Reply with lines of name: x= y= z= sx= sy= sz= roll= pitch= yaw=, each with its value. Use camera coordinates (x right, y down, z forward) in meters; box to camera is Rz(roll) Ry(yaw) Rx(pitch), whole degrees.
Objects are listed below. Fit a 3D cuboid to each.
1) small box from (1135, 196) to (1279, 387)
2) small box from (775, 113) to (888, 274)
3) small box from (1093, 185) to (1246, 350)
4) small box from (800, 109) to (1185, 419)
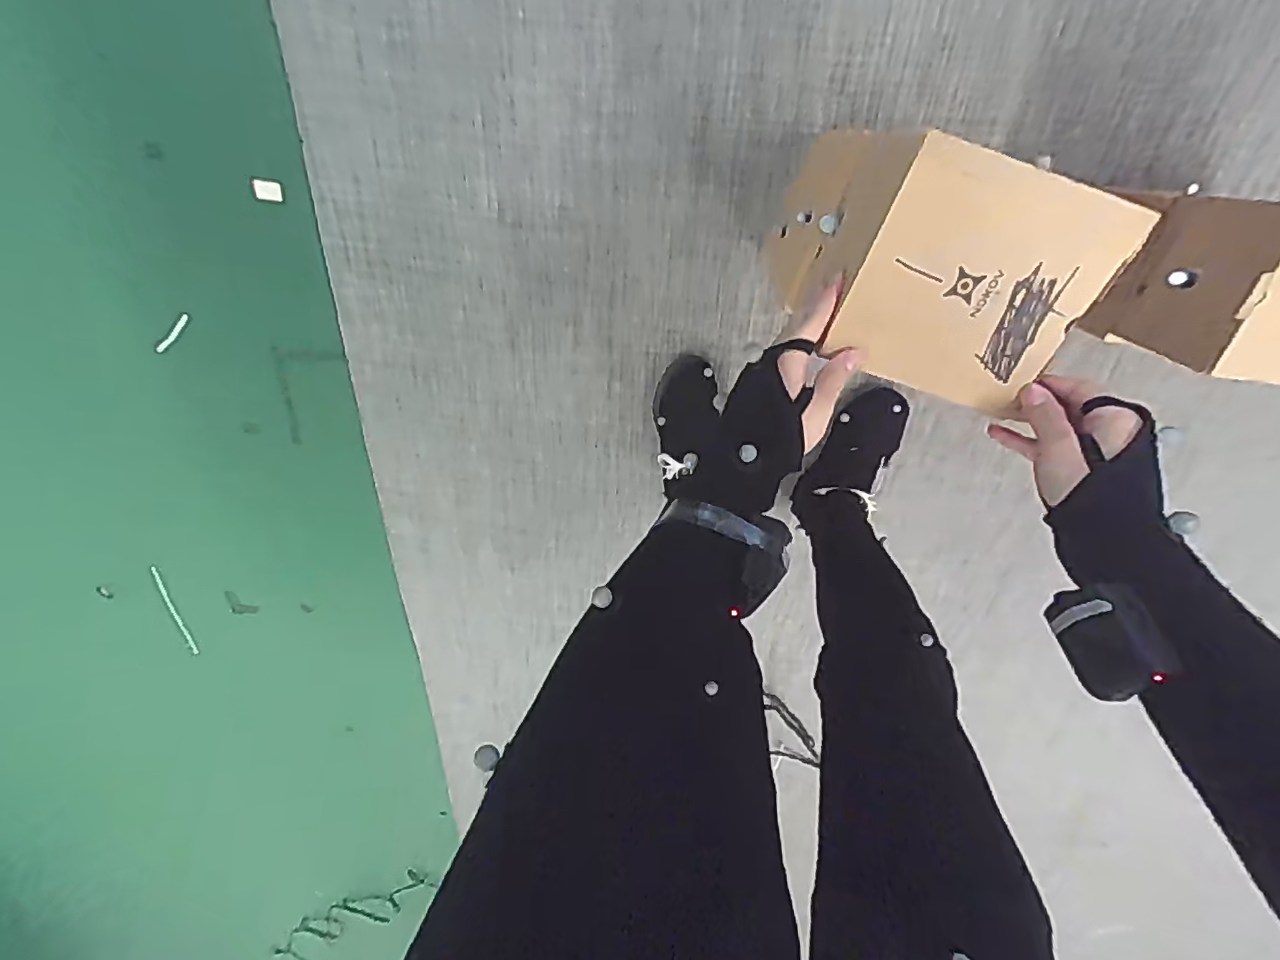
small box: x=0.697 y=-0.196 z=0.569 sx=0.179 sy=0.176 sz=0.168 roll=10 pitch=122 yaw=4
small box: x=0.296 y=-0.353 z=0.725 sx=0.168 sy=0.176 sz=0.179 roll=25 pitch=121 yaw=-7
small box: x=0.712 y=-0.278 z=0.711 sx=0.168 sy=0.176 sz=0.179 roll=8 pitch=121 yaw=4
small box: x=0.255 y=-0.181 z=0.449 sx=0.179 sy=0.176 sz=0.168 roll=20 pitch=122 yaw=-3
